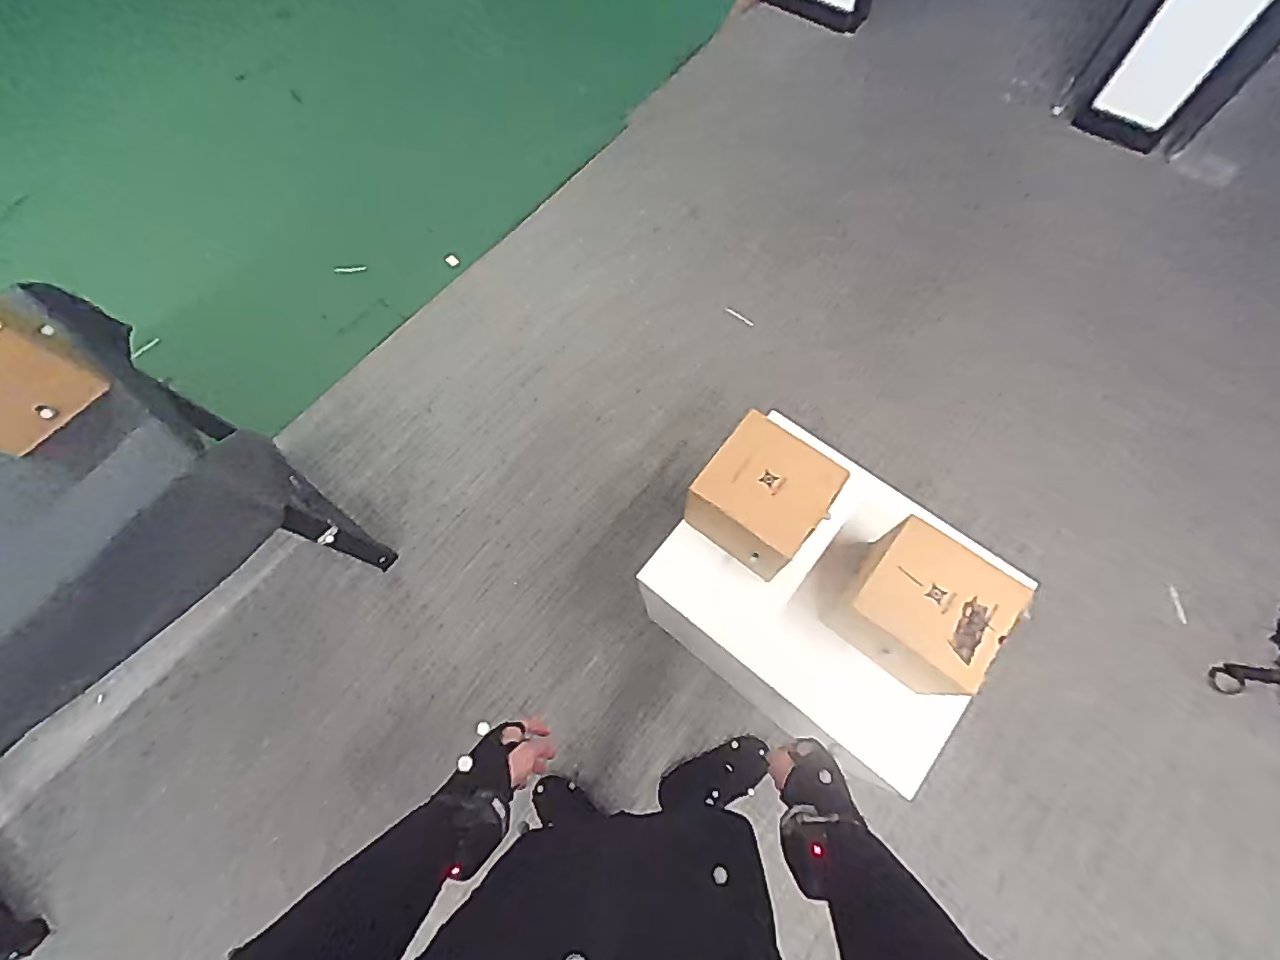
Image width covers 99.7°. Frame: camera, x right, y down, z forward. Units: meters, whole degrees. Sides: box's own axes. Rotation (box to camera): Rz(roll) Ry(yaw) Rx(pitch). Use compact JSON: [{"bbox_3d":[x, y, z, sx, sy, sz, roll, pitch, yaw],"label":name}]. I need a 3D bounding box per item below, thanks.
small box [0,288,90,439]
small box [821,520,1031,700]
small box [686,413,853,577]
[{"bbox_3d":[-1.011,-0.198,0.824,0.168,0.176,0.179,38,74,15],"label":"small box"},{"bbox_3d":[0.394,0.189,0.776,0.179,0.176,0.168,37,74,16],"label":"small box"},{"bbox_3d":[0.190,0.034,0.845,0.179,0.176,0.168,36,72,14],"label":"small box"}]
